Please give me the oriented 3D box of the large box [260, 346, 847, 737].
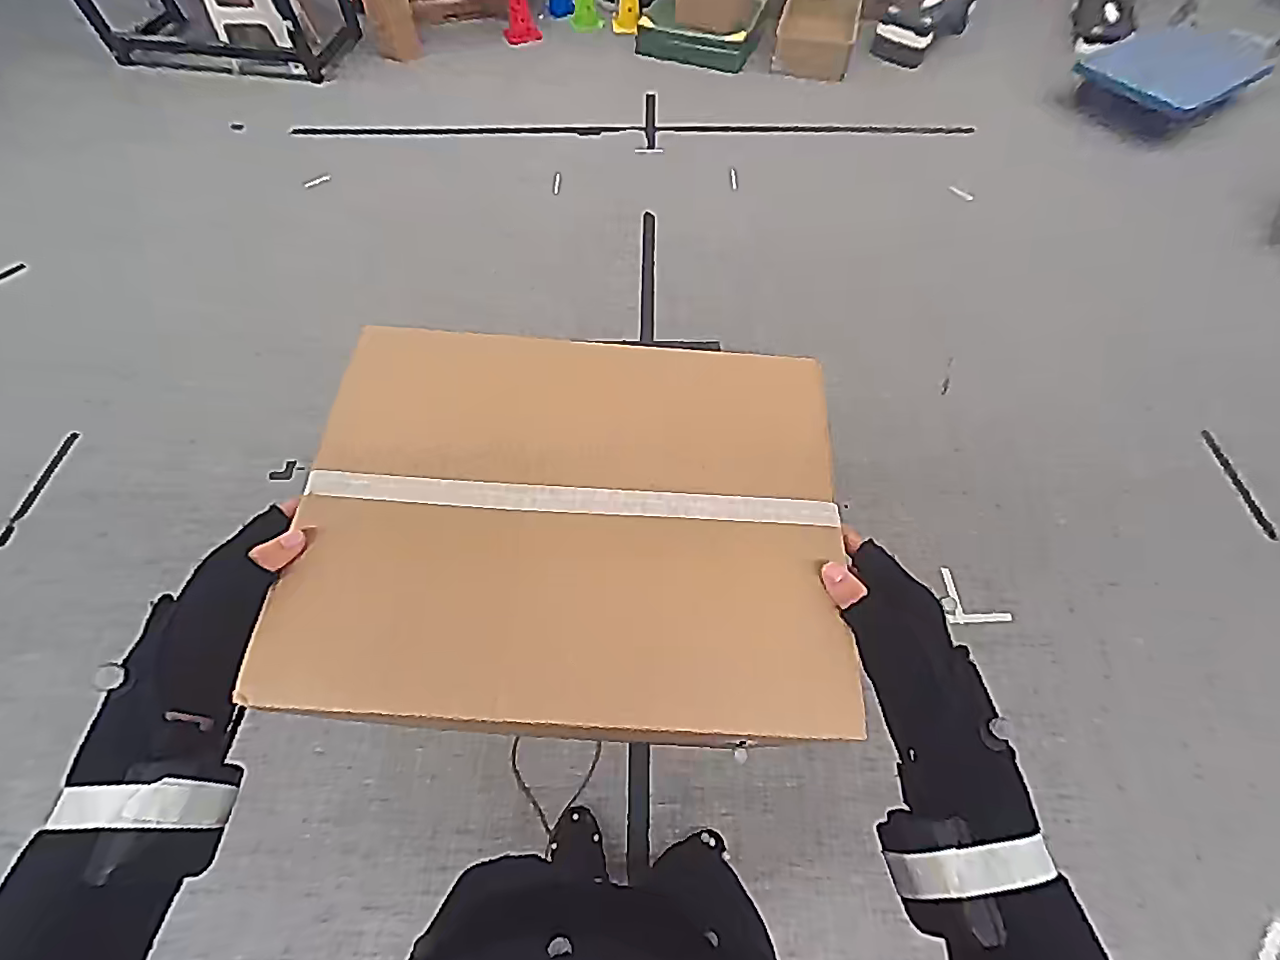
[{"bbox_3d":[-0.055,0.090,0.561,0.408,0.320,0.320,4,63,-1],"label":"large box"}]
